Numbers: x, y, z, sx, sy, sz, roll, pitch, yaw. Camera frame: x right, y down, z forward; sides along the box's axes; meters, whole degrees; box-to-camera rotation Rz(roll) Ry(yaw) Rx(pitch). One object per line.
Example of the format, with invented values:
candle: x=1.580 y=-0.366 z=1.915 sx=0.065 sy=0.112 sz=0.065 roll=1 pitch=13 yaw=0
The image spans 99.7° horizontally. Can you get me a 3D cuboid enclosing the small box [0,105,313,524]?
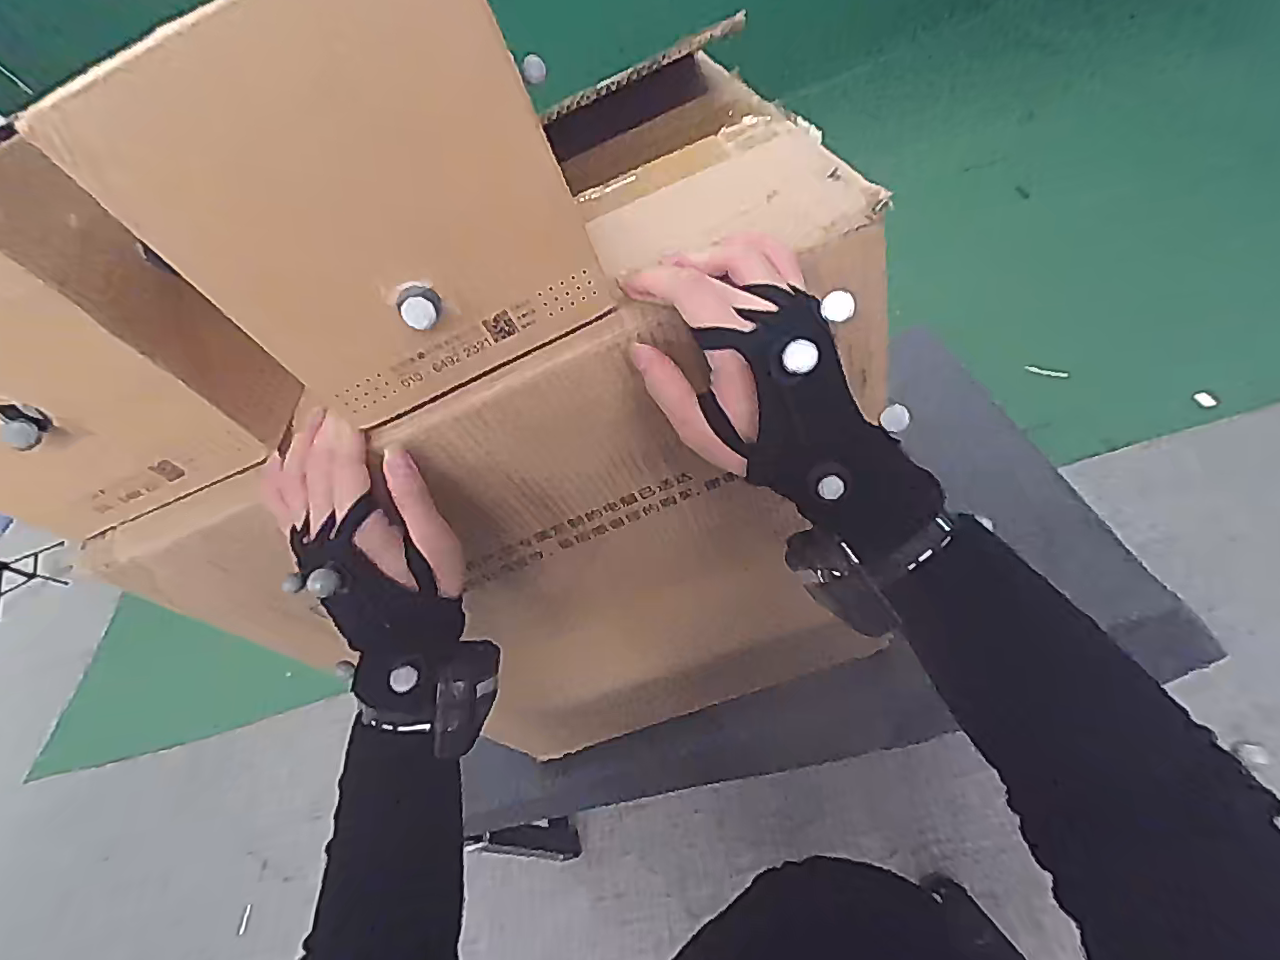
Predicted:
small box: x=-0.330 y=-0.093 z=0.336 sx=0.168 sy=0.176 sz=0.179 roll=-21 pitch=49 yaw=9

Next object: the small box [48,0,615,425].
small box: x=-0.131 y=-0.163 z=0.298 sx=0.168 sy=0.176 sz=0.179 roll=-24 pitch=50 yaw=5
